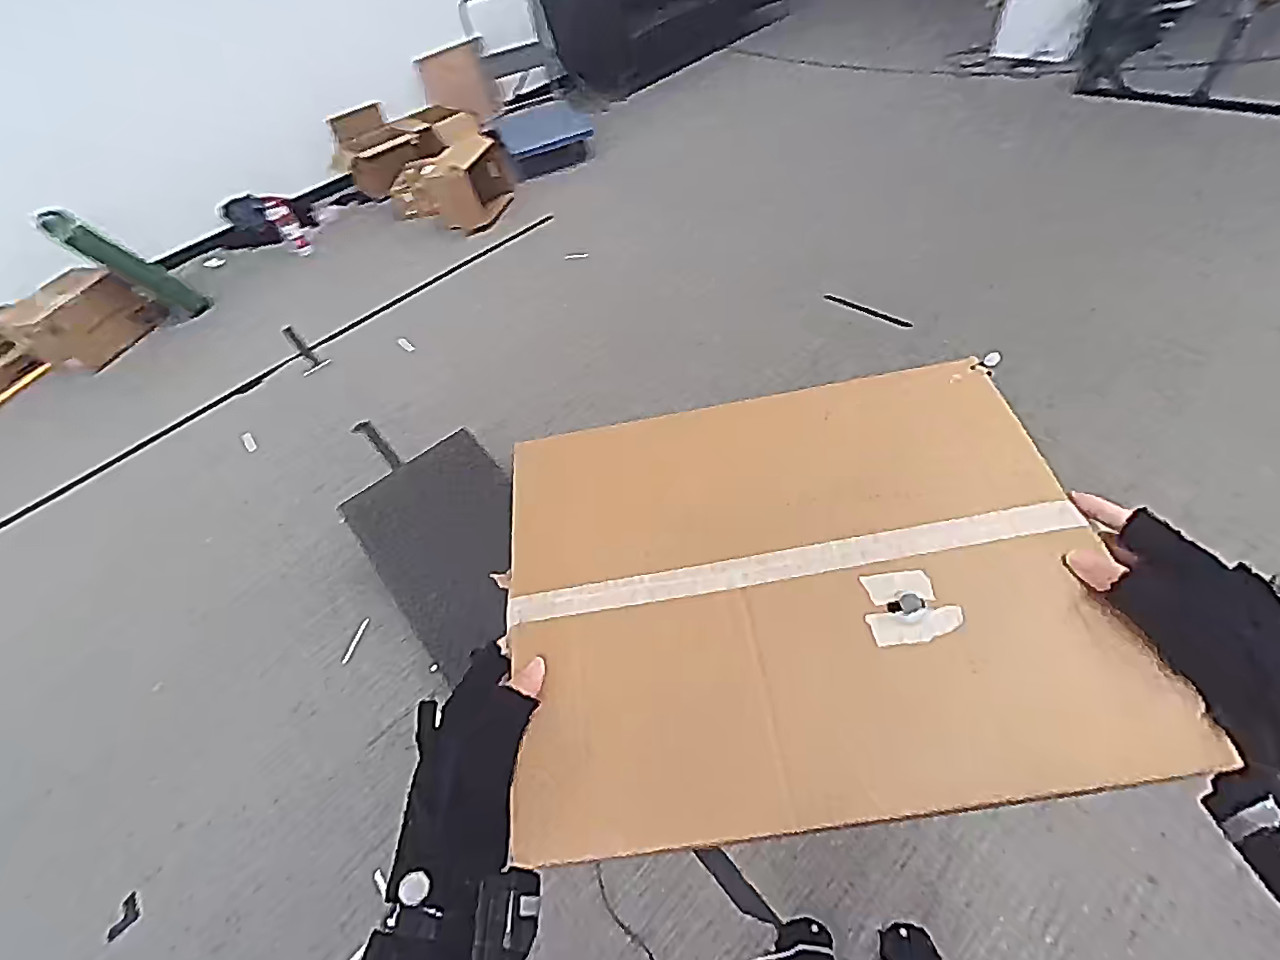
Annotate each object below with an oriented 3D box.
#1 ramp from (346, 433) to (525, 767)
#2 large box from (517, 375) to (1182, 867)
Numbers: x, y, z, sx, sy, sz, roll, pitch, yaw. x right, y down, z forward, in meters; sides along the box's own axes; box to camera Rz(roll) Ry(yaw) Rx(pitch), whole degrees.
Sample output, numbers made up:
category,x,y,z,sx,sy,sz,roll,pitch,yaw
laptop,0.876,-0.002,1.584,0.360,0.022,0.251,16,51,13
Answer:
category,x,y,z,sx,sy,sz,roll,pitch,yaw
ramp,-0.469,0.284,1.657,0.509,0.206,0.991,-38,54,-19
large box,0.123,0.150,0.526,0.408,0.320,0.320,-11,57,2
